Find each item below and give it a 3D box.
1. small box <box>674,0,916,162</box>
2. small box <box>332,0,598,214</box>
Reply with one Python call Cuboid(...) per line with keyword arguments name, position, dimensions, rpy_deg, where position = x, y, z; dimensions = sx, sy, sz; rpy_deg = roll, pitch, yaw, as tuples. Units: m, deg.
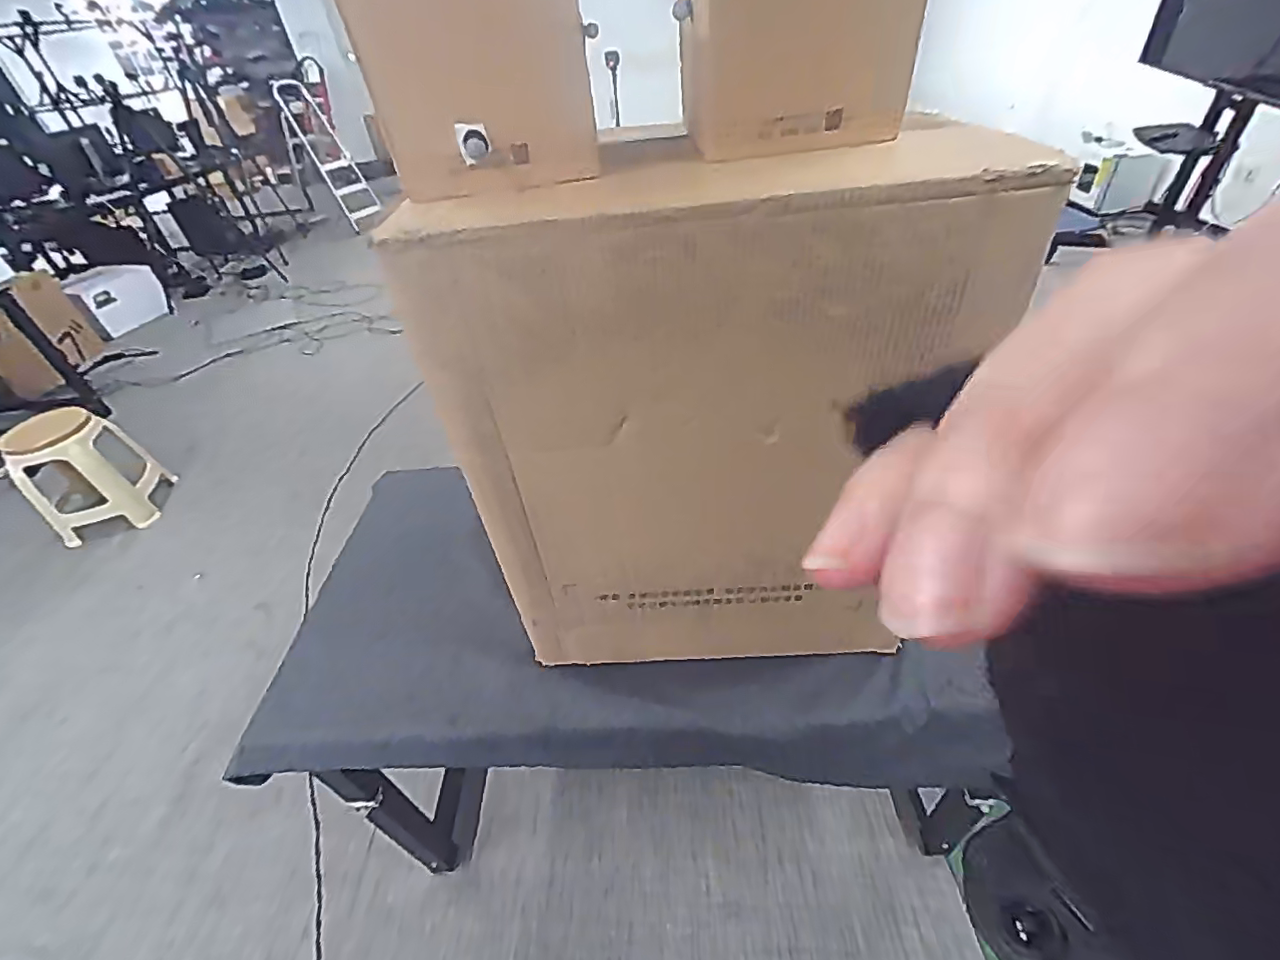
Cuboid(name="small box", position=(0.119, -0.391, 0.468), dimensions=(0.168, 0.176, 0.179), rpy_deg=(-8, 42, 1))
Cuboid(name="small box", position=(-0.133, -0.352, 0.469), dimensions=(0.168, 0.176, 0.179), rpy_deg=(-9, 44, 2))
